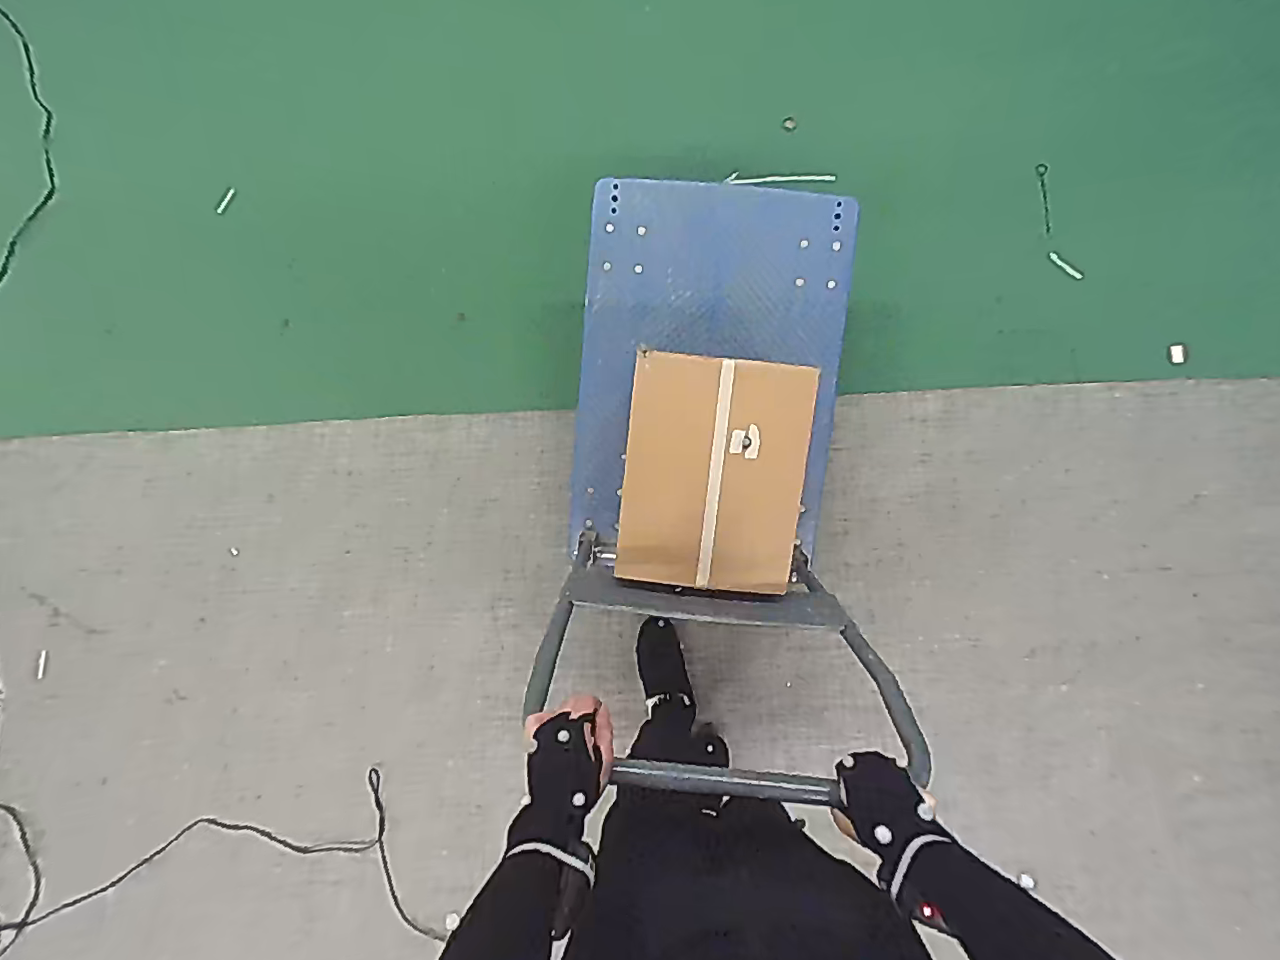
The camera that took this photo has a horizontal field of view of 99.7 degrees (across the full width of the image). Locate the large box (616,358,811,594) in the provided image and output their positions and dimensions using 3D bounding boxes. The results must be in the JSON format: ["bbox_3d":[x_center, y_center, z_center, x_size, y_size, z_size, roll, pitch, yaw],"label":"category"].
[{"bbox_3d":[0.131,-0.018,1.092,0.320,0.320,0.408,5,97,1],"label":"large box"}]
